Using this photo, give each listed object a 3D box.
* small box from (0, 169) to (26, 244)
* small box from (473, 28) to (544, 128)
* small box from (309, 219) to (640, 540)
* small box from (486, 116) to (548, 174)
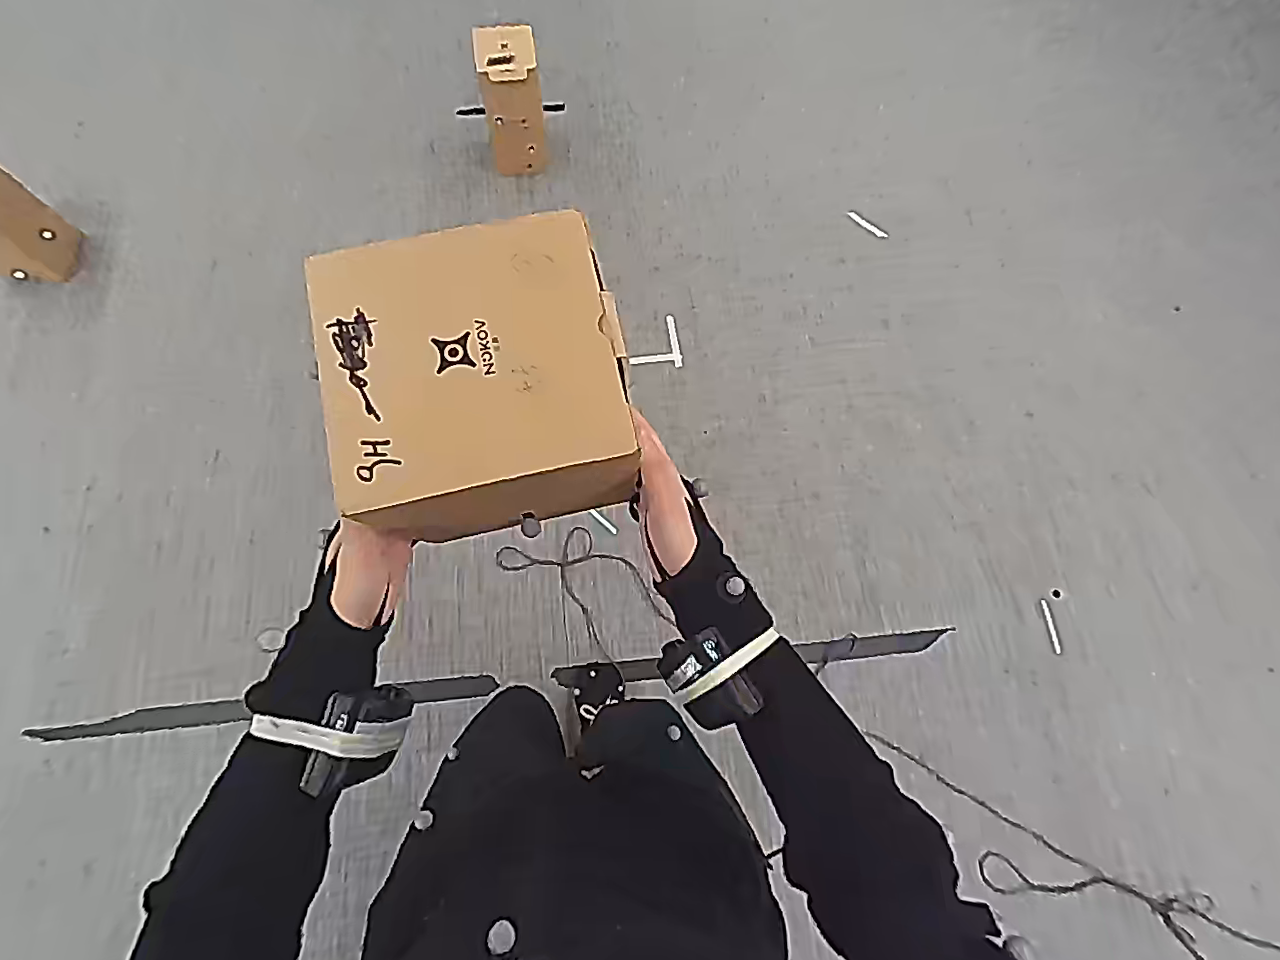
[{"bbox_3d":[-1.715,-0.721,1.348,0.168,0.176,0.179,-2,74,-3],"label":"small box"},{"bbox_3d":[-0.376,-1.149,1.559,0.168,0.176,0.179,-8,73,-6],"label":"small box"},{"bbox_3d":[-0.107,-0.058,0.402,0.179,0.176,0.168,-12,78,-6],"label":"small box"},{"bbox_3d":[-0.391,-1.101,1.715,0.168,0.176,0.179,-9,73,-7],"label":"small box"}]
